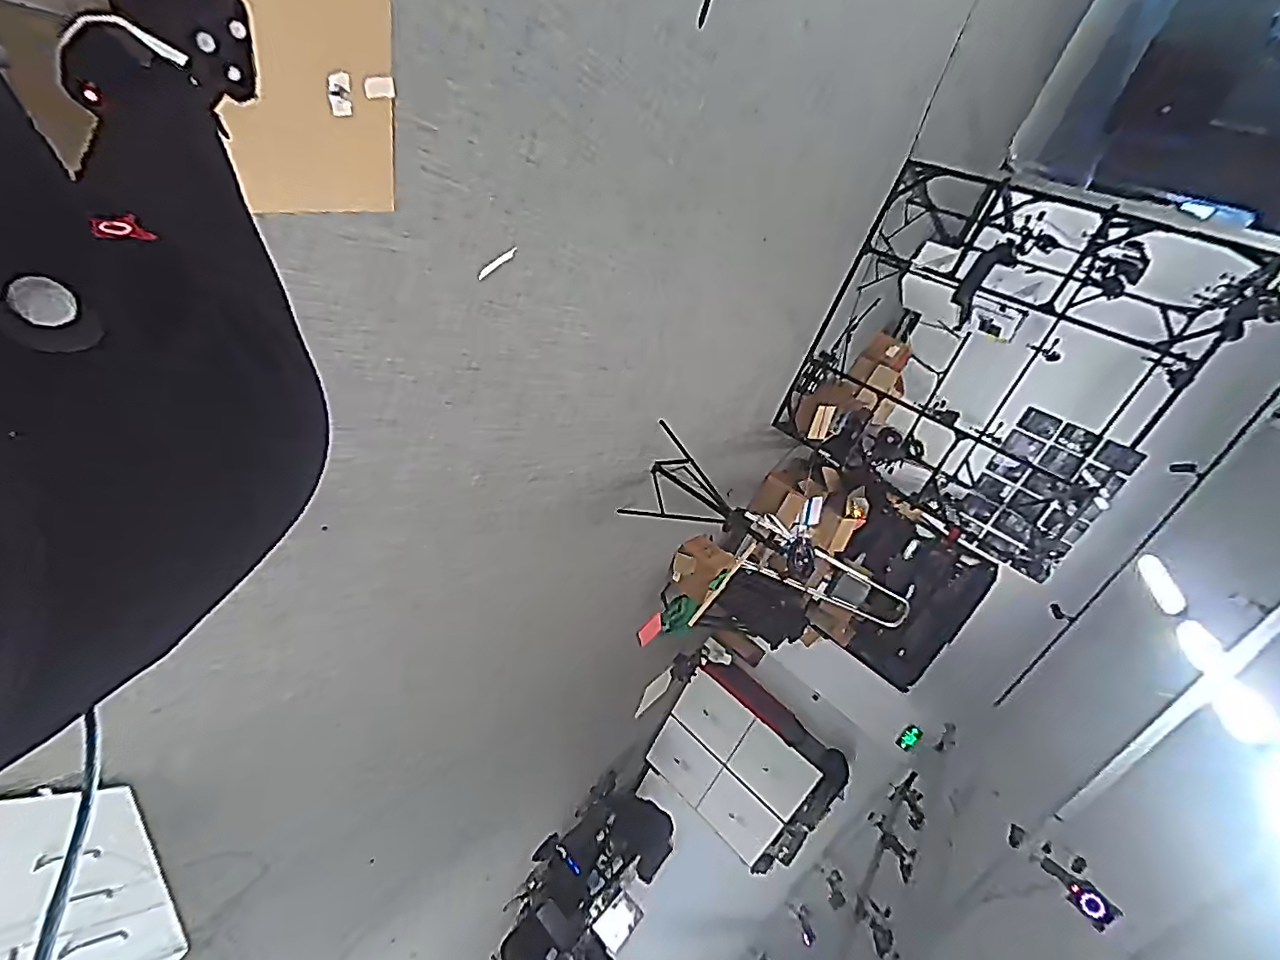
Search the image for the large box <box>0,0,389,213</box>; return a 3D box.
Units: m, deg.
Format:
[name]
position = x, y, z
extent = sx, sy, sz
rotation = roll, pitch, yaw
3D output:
[large box]
position = -0.574, -0.526, 0.649
extent = 0.320, 0.408, 0.320
rotation = -45, 153, -58
